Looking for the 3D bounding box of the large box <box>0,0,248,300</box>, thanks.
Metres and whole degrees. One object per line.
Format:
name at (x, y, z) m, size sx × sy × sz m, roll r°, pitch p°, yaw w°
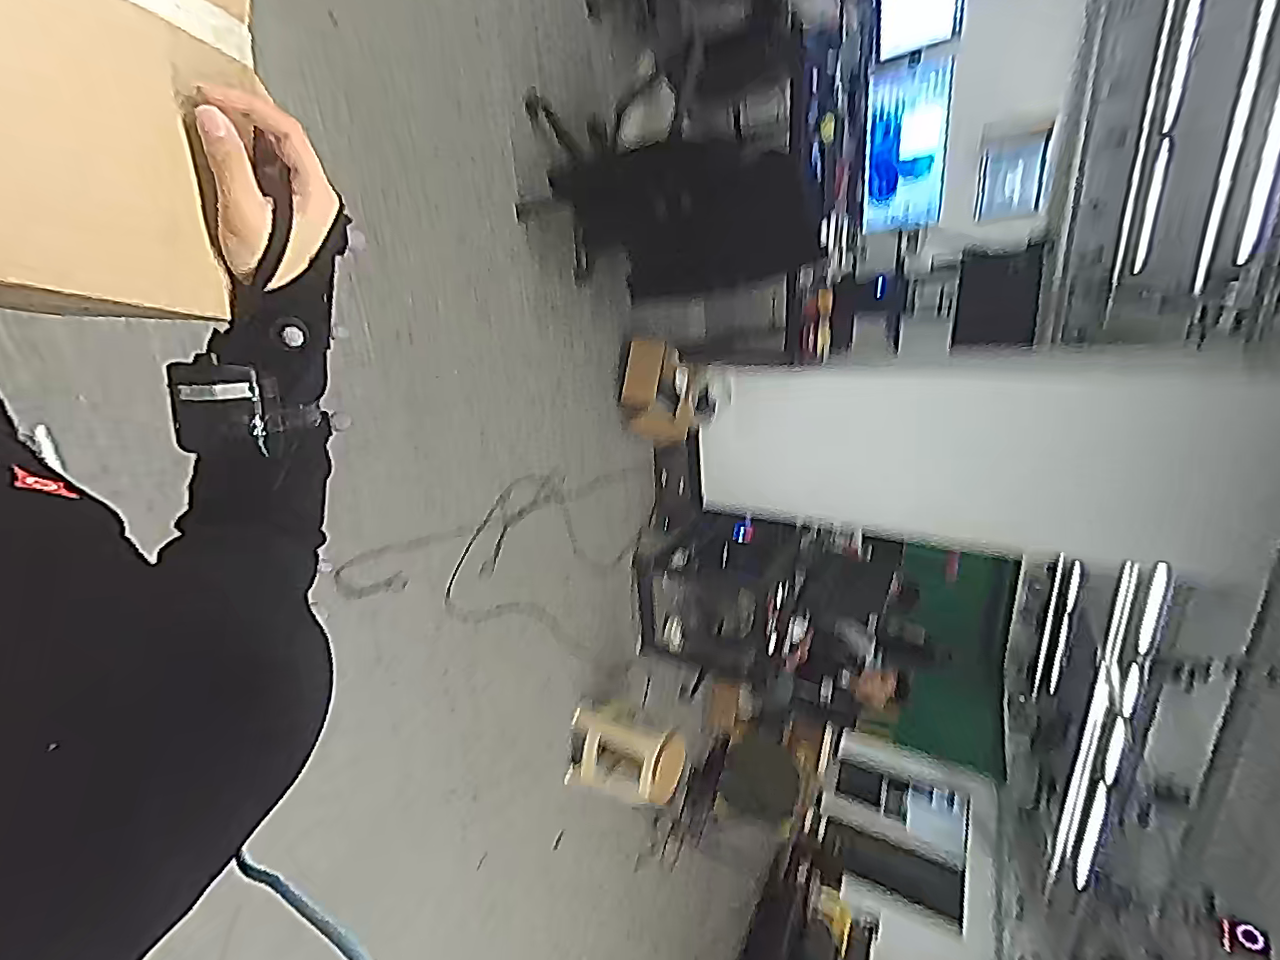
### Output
large box at (-0.465, -0.266, 0.218) m, size 0.408 × 0.320 × 0.320 m, roll -11°, pitch 110°, yaw -62°
